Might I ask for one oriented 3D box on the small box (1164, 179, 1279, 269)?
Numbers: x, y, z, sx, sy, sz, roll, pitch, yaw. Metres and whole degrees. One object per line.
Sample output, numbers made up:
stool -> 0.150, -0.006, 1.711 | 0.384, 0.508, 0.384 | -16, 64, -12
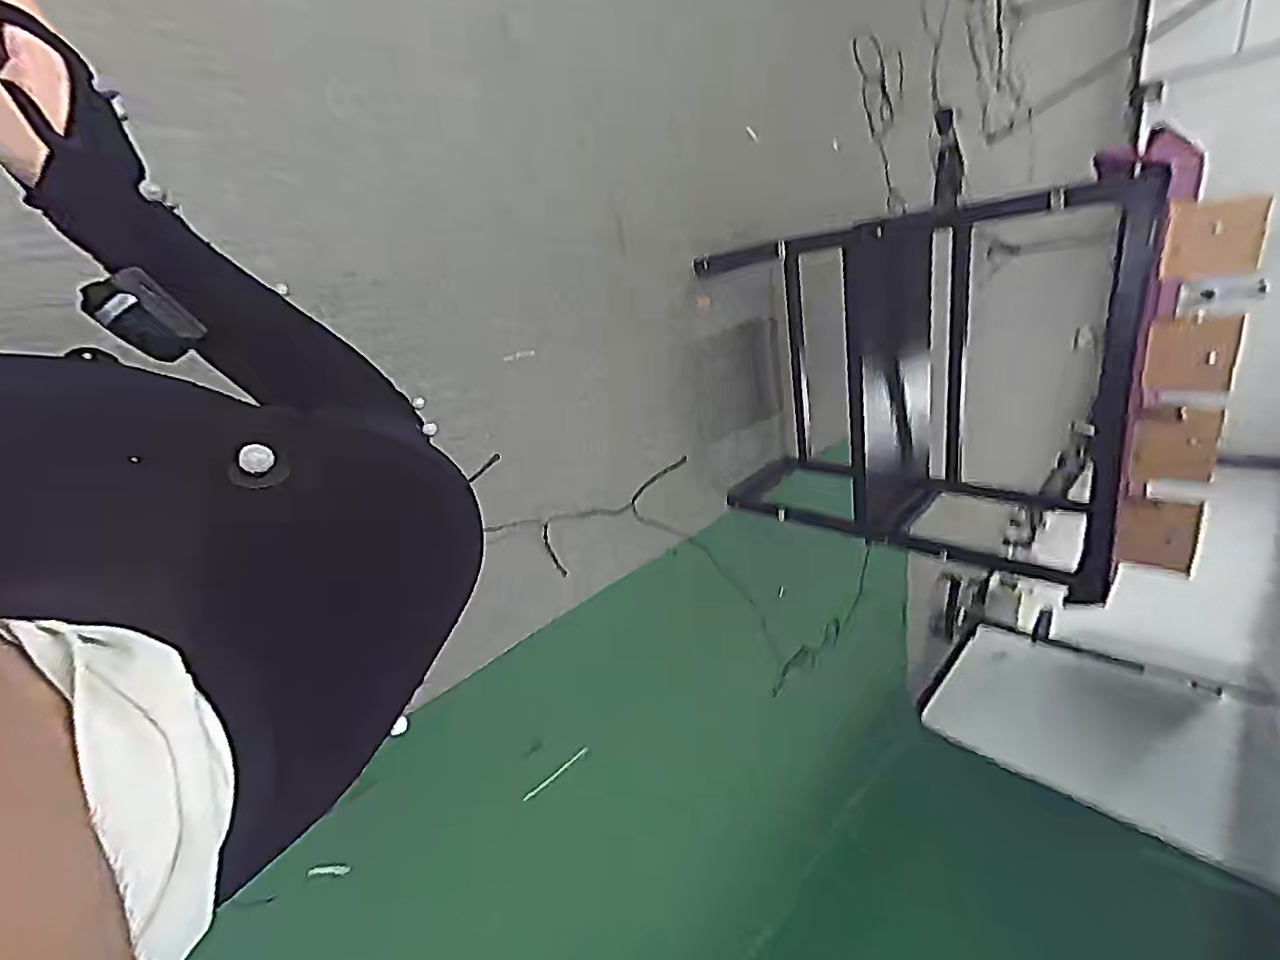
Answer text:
small box -> 1.372, -0.601, 1.280 | 0.179, 0.176, 0.168 | -25, 115, -39

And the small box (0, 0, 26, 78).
small box -> -0.501, -0.346, 0.292 | 0.179, 0.176, 0.168 | -25, 117, -37

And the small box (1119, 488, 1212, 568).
small box -> 1.522, 0.130, 1.570 | 0.168, 0.176, 0.179 | -23, 113, -36
